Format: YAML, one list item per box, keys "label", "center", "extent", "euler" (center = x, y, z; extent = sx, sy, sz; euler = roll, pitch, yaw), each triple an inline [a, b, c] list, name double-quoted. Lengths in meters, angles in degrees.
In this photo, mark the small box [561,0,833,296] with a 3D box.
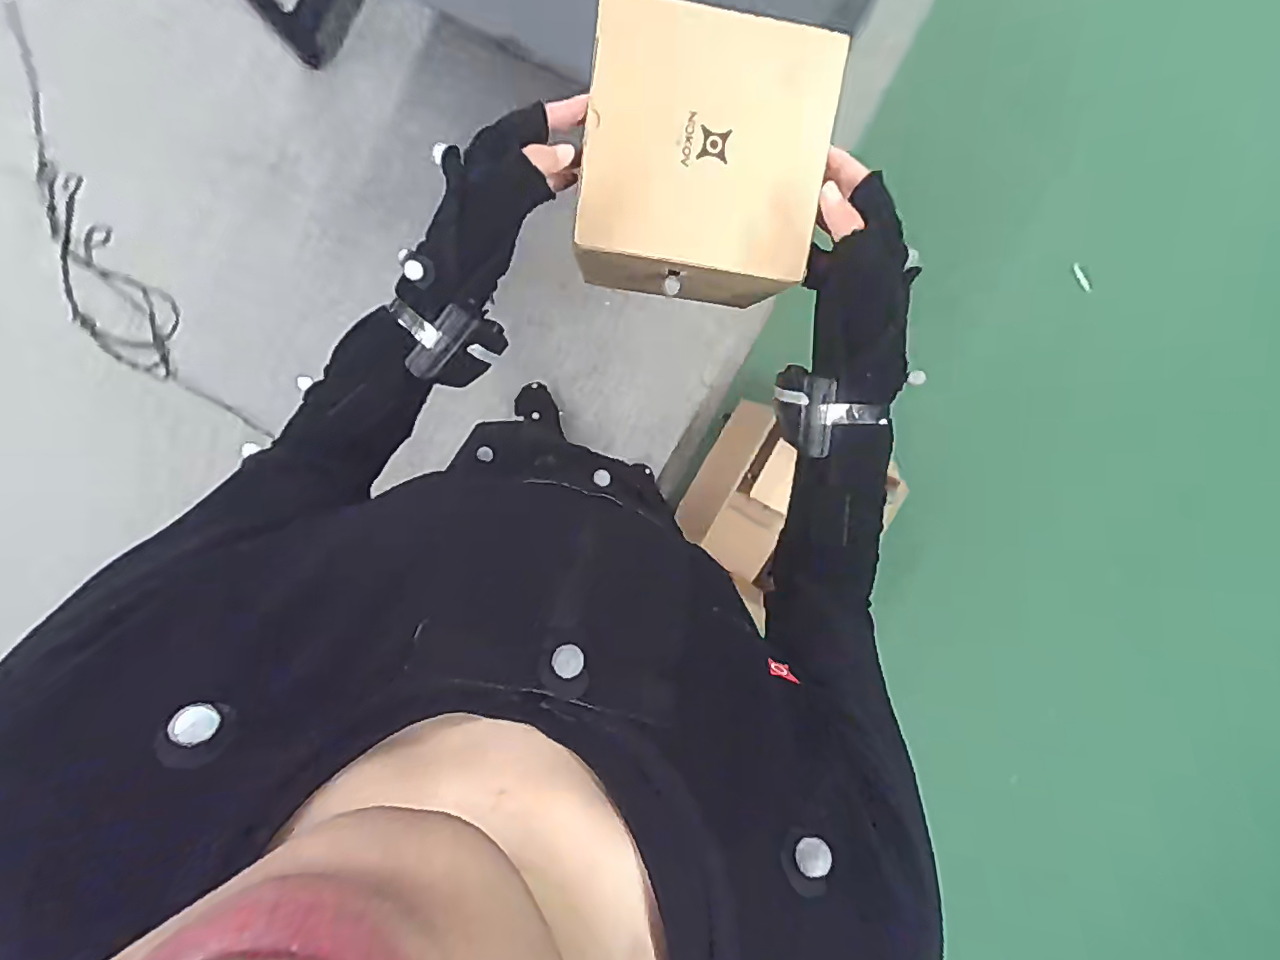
- label: "small box"
  center: [0.034, -0.259, 0.460]
  extent: [0.179, 0.176, 0.168]
  euler: [6, 101, -3]
